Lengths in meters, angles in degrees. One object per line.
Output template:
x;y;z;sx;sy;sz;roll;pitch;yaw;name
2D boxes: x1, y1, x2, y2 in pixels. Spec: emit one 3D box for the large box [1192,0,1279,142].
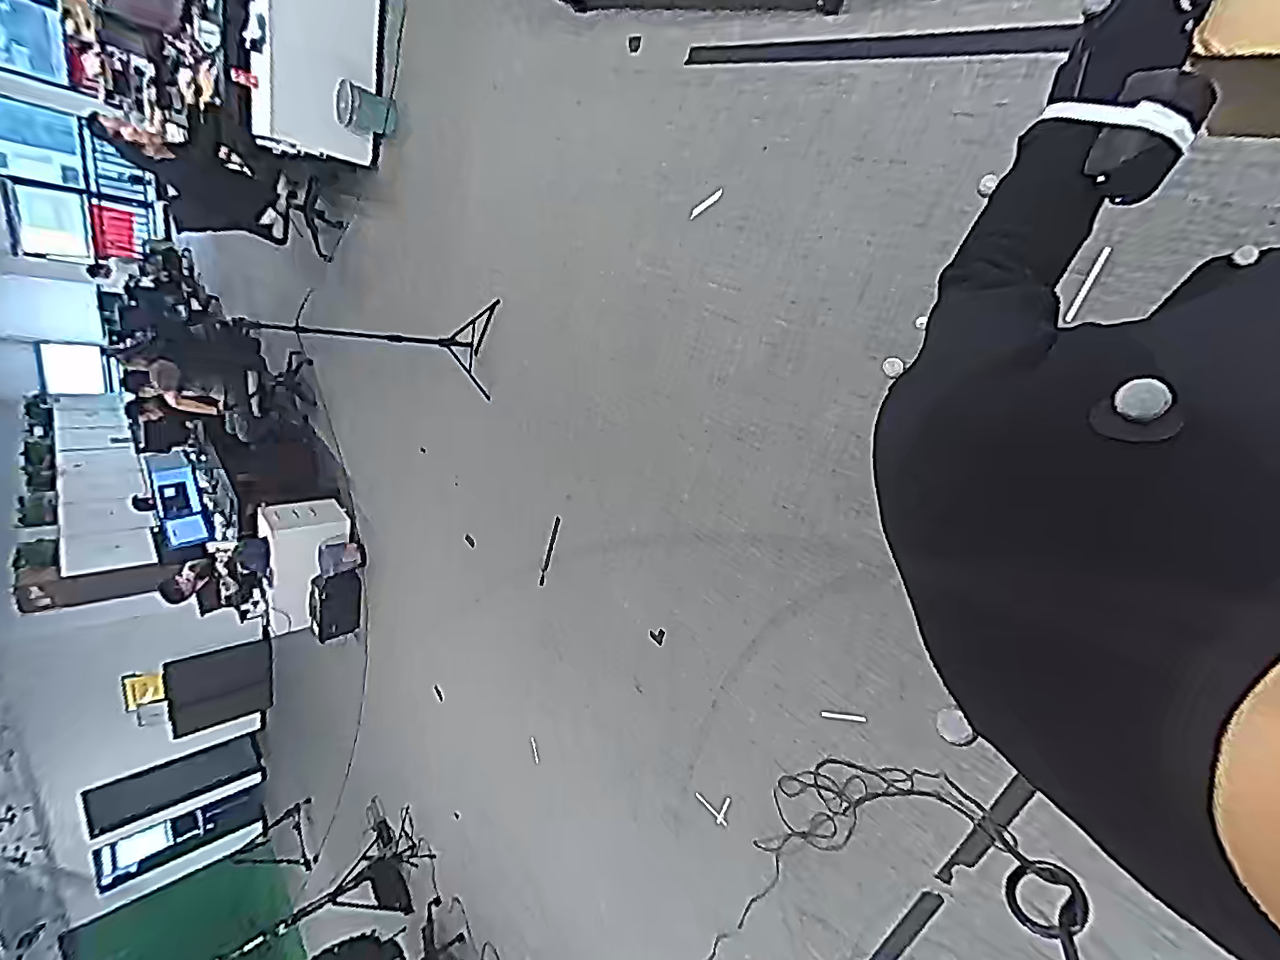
0.628;-0.373;0.276;0.408;0.320;0.320;31;126;37;large box
